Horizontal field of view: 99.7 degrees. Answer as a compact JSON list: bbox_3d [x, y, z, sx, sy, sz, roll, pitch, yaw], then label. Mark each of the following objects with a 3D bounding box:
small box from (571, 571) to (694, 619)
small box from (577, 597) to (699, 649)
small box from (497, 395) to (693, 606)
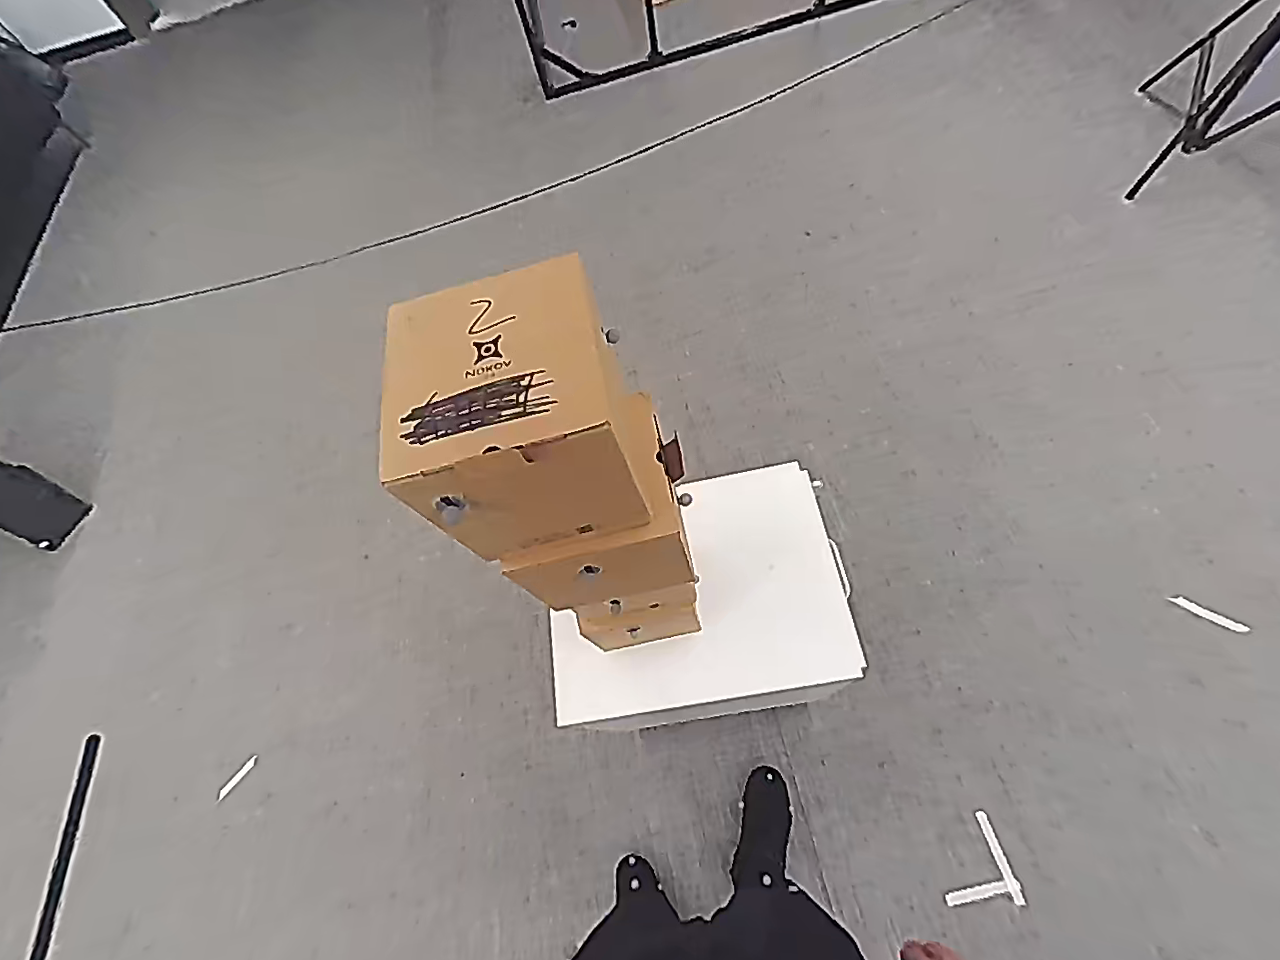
[{"bbox_3d":[-0.022,0.090,0.767,0.168,0.176,0.179,-12,62,4],"label":"small box"},{"bbox_3d":[-0.006,0.175,0.905,0.179,0.176,0.168,-13,63,3],"label":"small box"},{"bbox_3d":[-0.045,0.034,0.612,0.179,0.176,0.168,-12,63,4],"label":"small box"}]
